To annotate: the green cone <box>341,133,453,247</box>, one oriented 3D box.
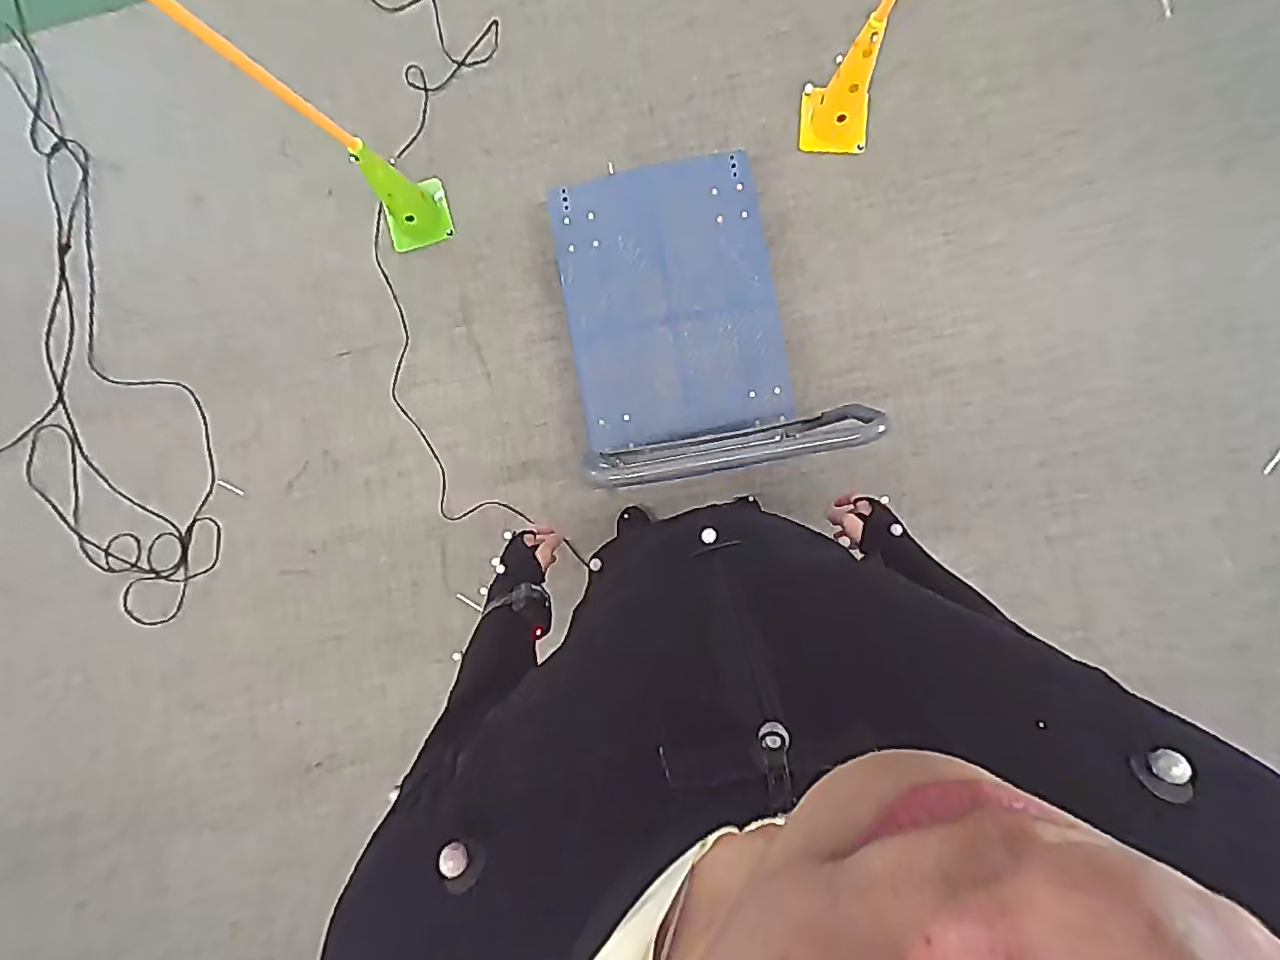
[{"bbox_3d":[-0.719,-0.861,1.543,0.202,0.368,0.200,-17,87,4],"label":"green cone"}]
